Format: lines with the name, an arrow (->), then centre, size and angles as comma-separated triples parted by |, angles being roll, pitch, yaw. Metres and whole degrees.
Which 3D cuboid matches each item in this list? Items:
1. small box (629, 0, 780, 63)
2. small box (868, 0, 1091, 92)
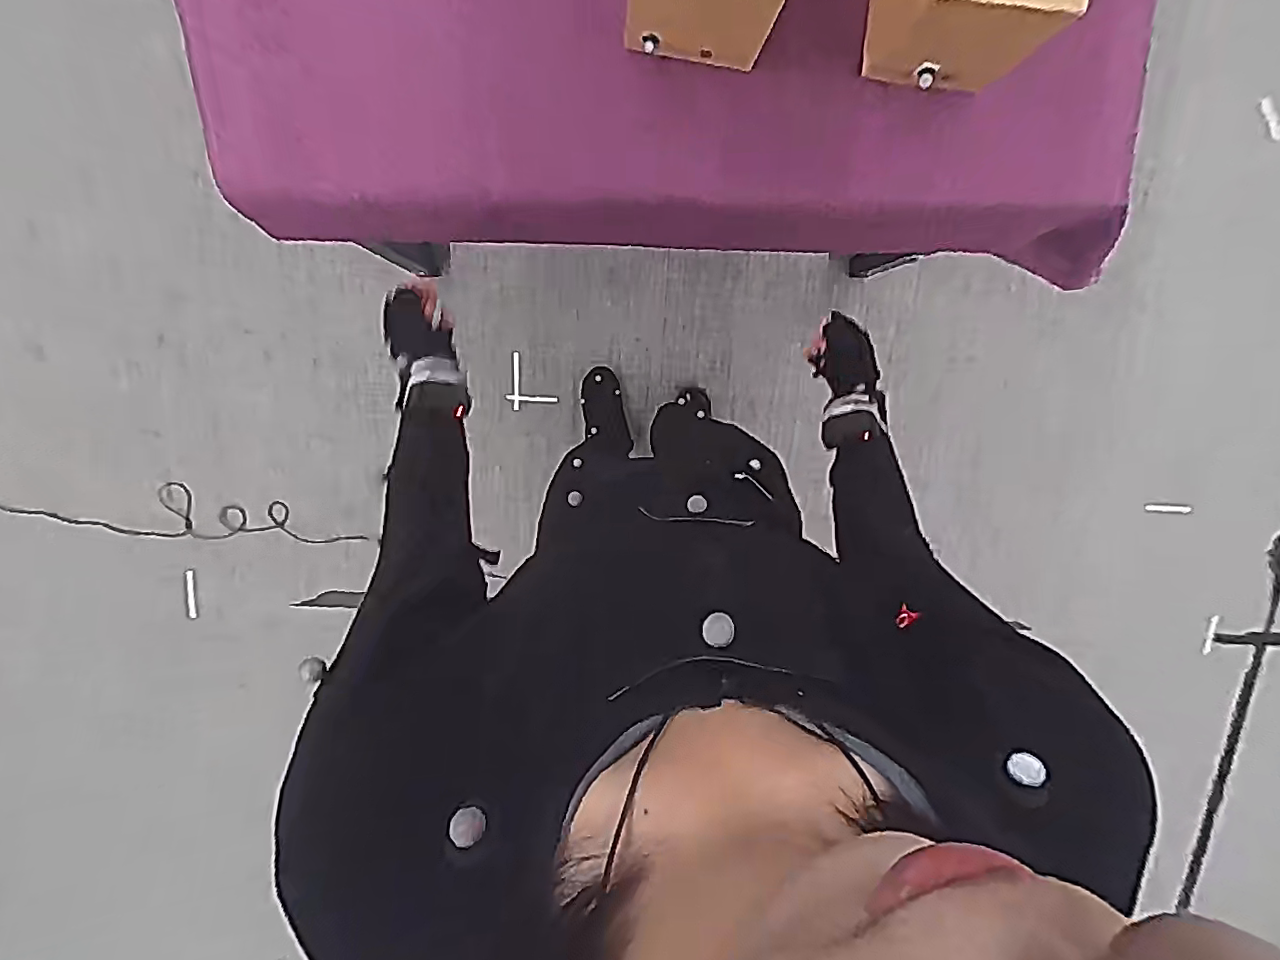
small box -> 0.080, -0.600, 0.584 | 0.168, 0.176, 0.179 | 6, 99, -6
small box -> 0.381, -0.585, 0.613 | 0.168, 0.176, 0.179 | 2, 101, -3
